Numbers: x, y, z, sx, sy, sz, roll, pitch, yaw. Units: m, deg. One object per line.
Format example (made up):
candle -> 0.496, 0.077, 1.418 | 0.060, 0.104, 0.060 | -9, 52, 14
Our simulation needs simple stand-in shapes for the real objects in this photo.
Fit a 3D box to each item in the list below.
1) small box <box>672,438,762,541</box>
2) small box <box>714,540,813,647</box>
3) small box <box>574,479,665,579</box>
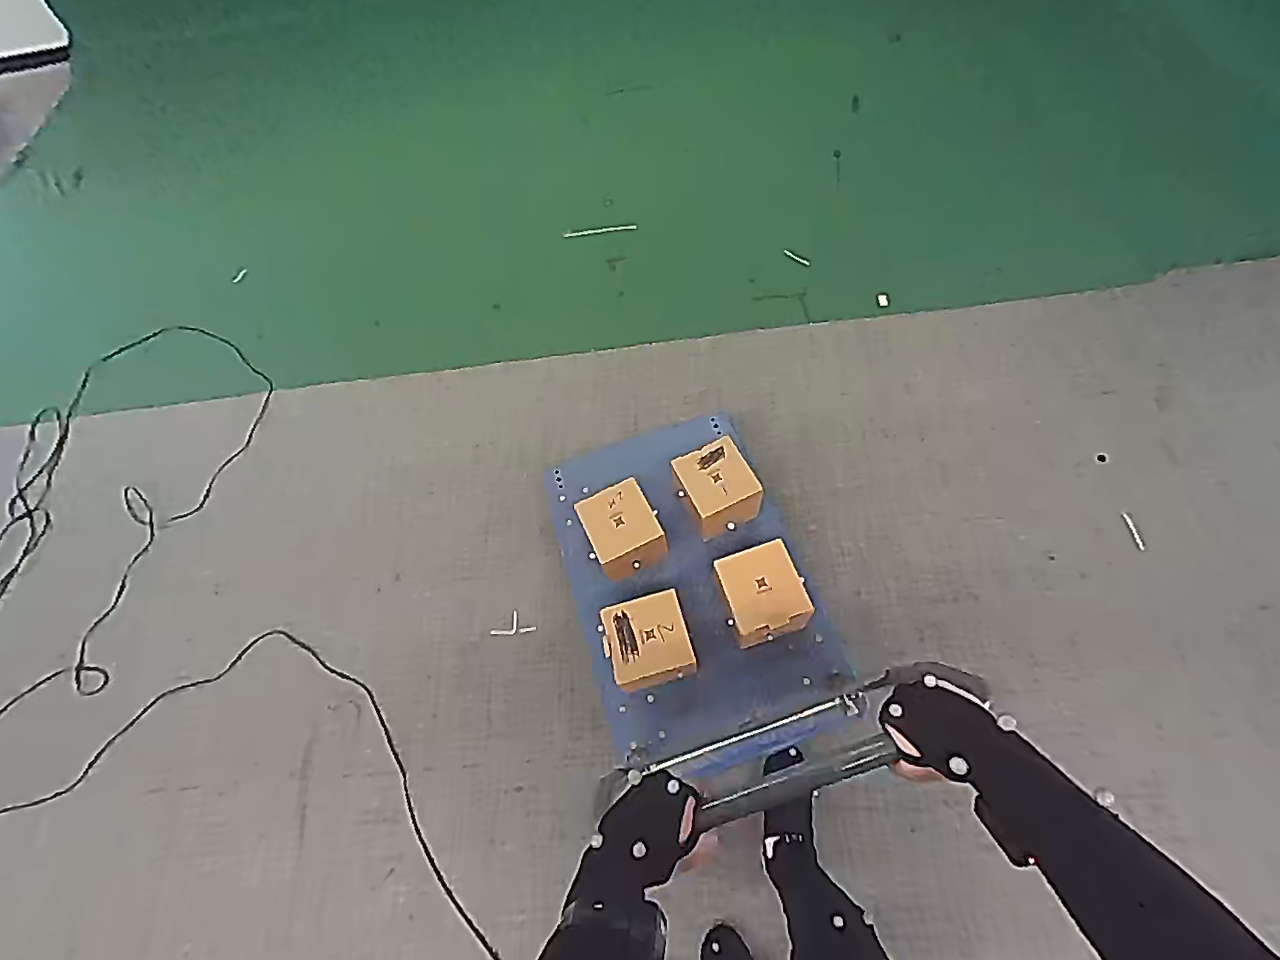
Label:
small box -> 0.192, 0.028, 1.390 | 0.168, 0.176, 0.179 | -25, 64, -6
small box -> 0.276, 0.268, 1.258 | 0.168, 0.176, 0.179 | -19, 63, -2
small box -> -0.045, 0.133, 1.364 | 0.168, 0.176, 0.179 | -25, 63, -7
